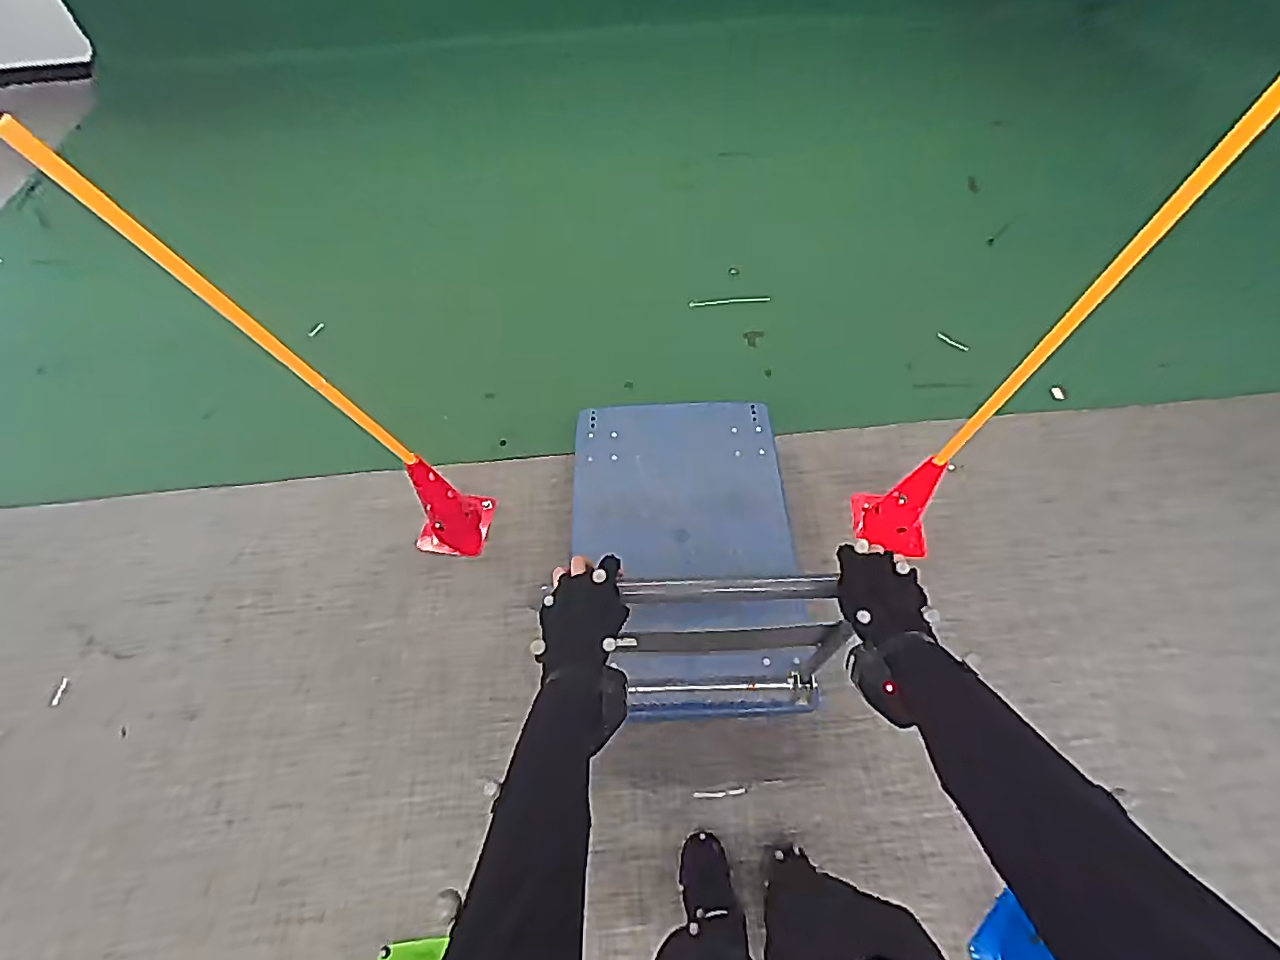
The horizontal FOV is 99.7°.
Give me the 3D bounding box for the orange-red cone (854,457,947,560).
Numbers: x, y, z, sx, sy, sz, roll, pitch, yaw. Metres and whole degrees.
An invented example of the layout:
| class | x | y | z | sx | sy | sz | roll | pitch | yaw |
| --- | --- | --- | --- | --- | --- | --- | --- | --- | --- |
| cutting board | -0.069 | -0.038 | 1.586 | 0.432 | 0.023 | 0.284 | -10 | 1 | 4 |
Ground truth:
| class | x | y | z | sx | sy | sz | roll | pitch | yaw |
| --- | --- | --- | --- | --- | --- | --- | --- | --- | --- |
| orange-red cone | 0.731 | 0.052 | 1.453 | 0.198 | 0.360 | 0.199 | 4 | 59 | 5 |
